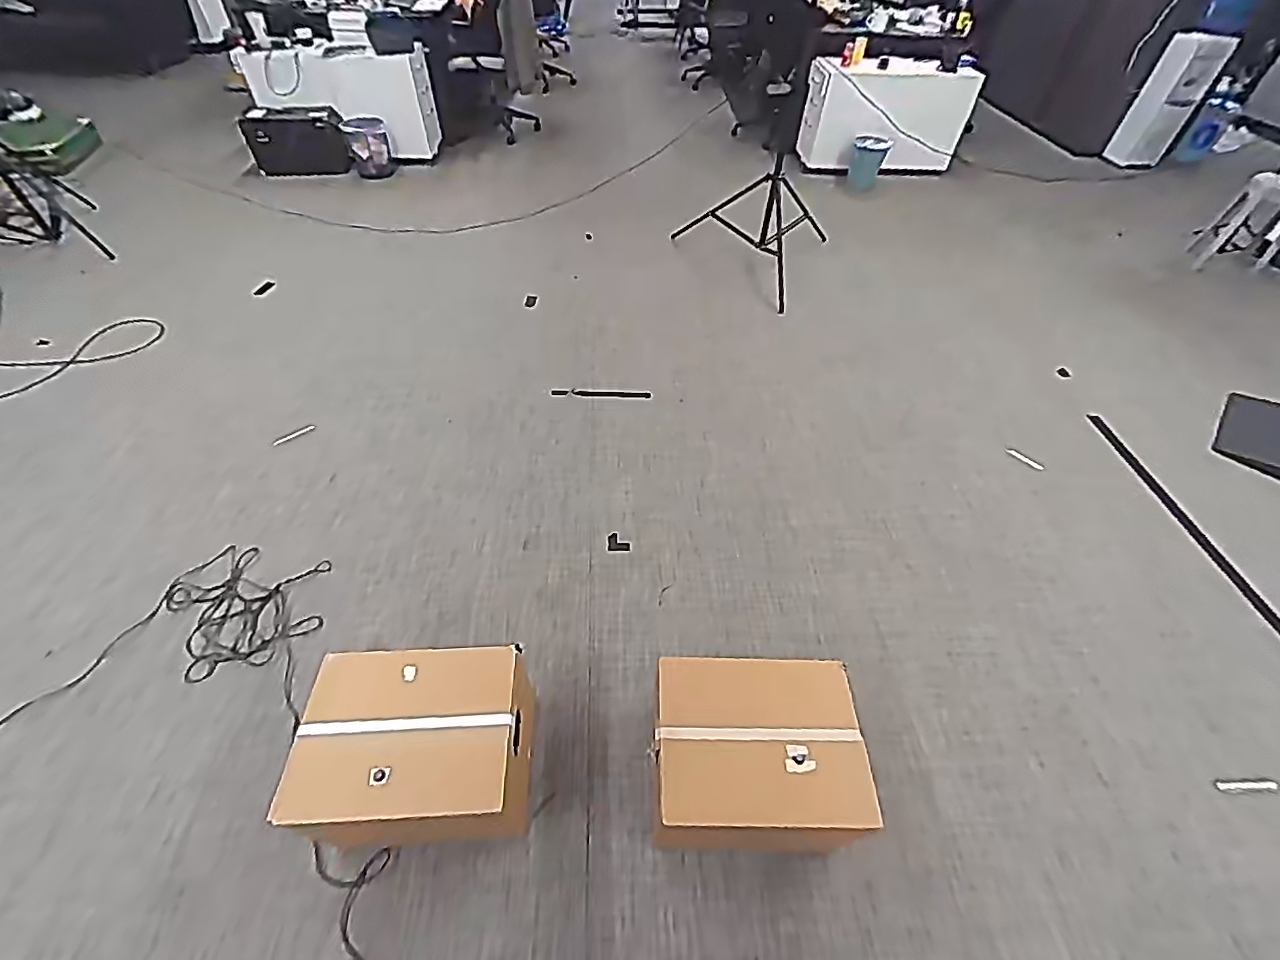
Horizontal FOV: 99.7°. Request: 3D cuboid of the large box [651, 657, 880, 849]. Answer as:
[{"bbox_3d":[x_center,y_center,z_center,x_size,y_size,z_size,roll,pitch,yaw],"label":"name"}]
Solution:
[{"bbox_3d":[0.236,0.604,1.190,0.408,0.320,0.320,2,49,-2],"label":"large box"}]
